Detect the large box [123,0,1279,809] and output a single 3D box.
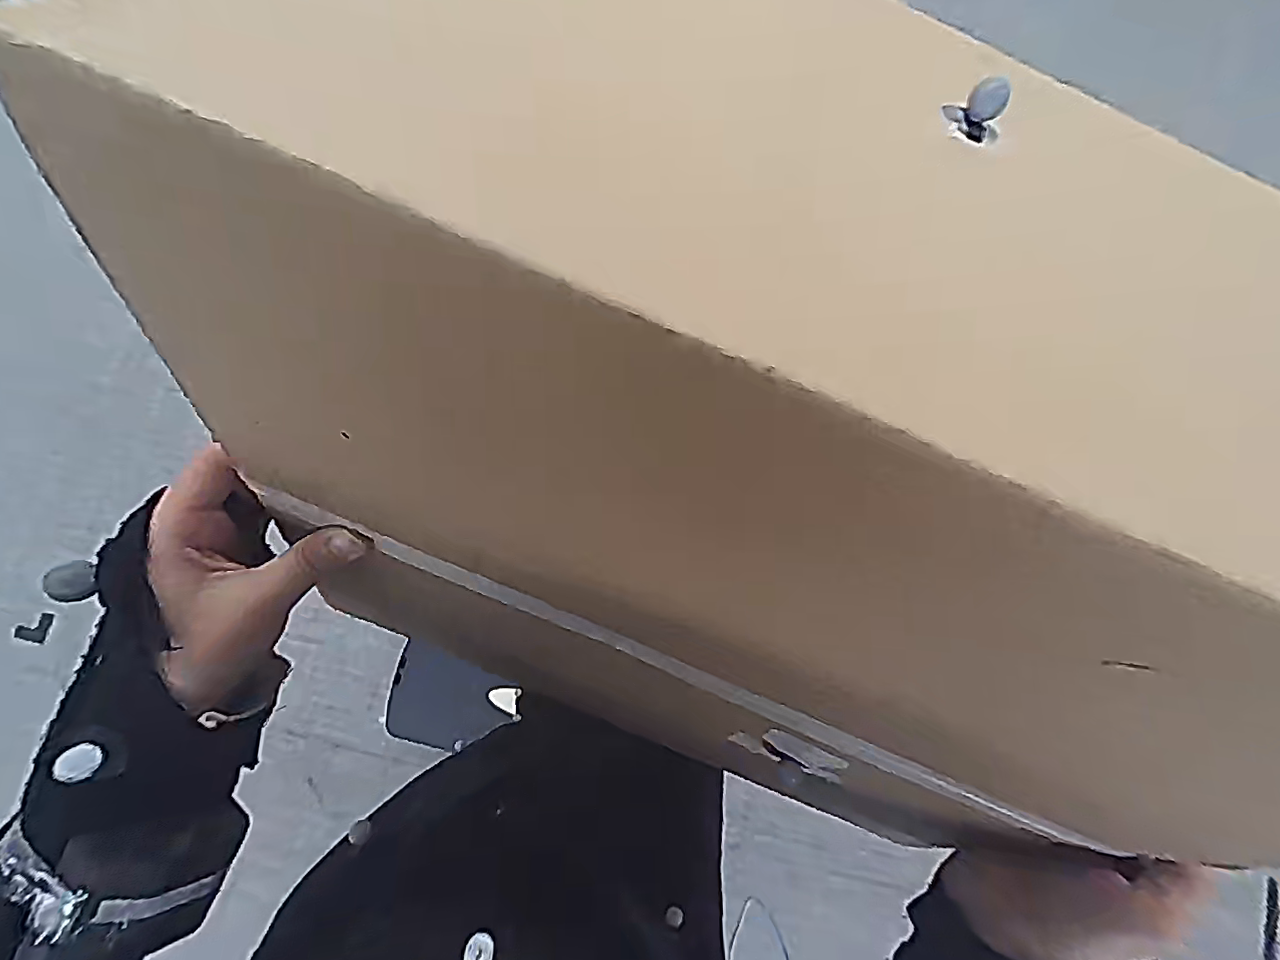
[{"bbox_3d":[0.089,-0.062,0.307,0.408,0.320,0.320,23,55,-2],"label":"large box"}]
